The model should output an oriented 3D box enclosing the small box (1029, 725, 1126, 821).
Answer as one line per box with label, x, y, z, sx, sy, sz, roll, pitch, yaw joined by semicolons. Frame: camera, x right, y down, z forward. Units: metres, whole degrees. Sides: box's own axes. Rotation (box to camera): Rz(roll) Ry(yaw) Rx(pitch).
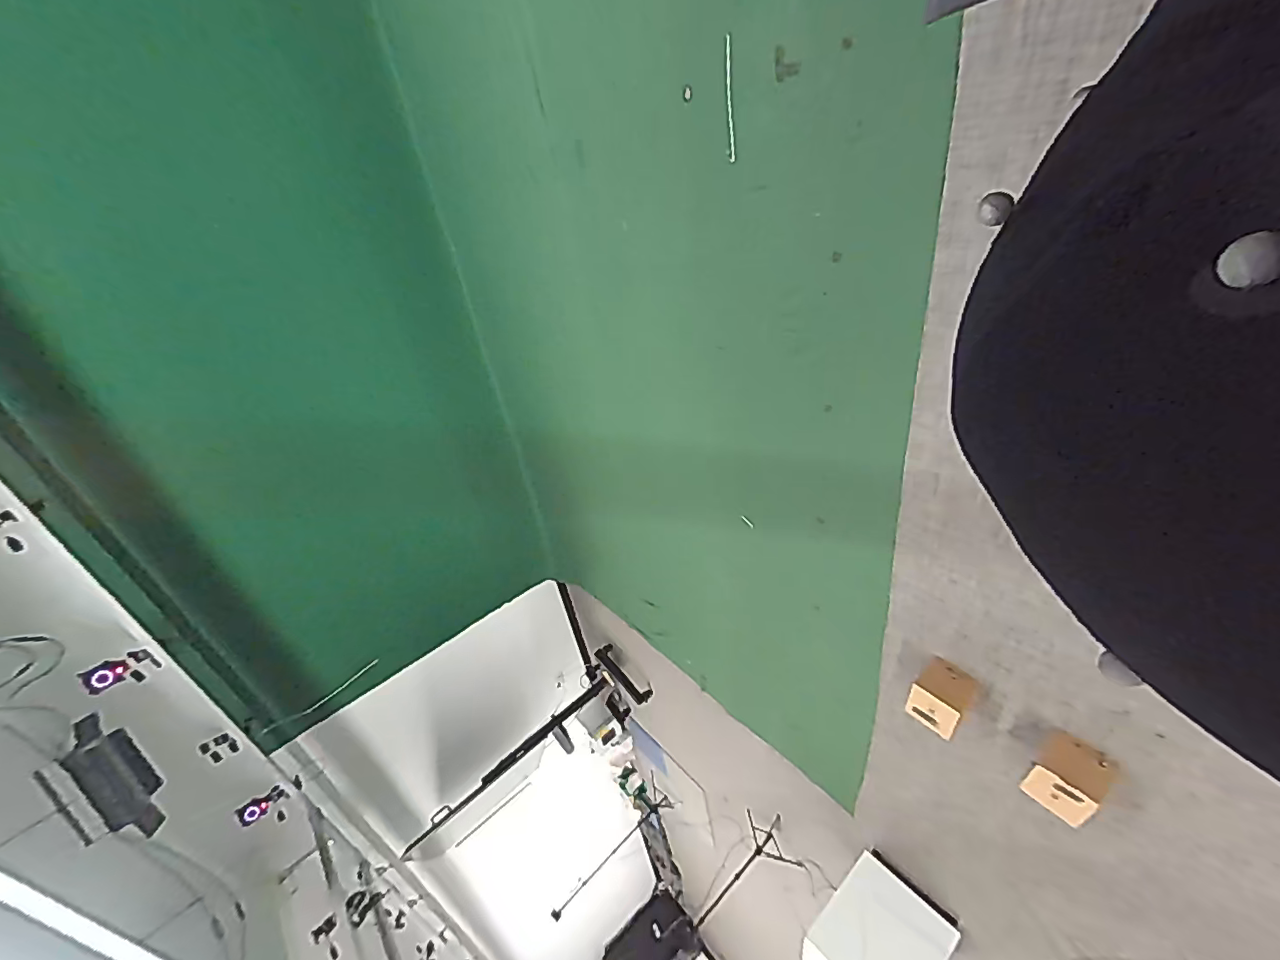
small box;1.368;0.909;1.689;0.168;0.176;0.179;34;144;39
